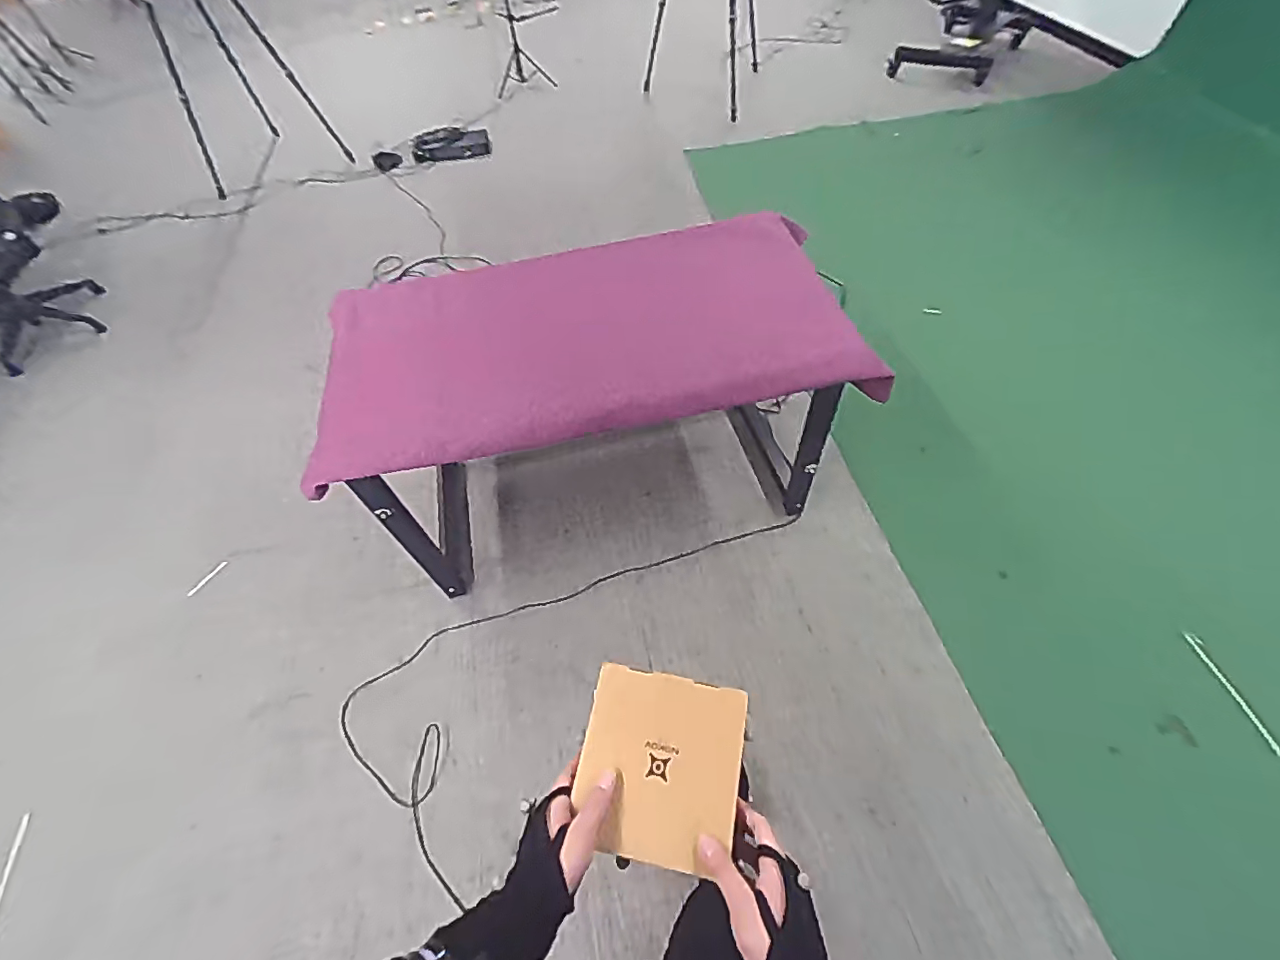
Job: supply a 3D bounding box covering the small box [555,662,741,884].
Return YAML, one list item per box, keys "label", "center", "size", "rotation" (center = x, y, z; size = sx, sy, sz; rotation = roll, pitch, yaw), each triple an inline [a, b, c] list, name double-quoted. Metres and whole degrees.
- label: "small box"
  center: [0.018, 0.331, 0.620]
  size: [0.168, 0.176, 0.179]
  rotation: [8, 58, 9]
